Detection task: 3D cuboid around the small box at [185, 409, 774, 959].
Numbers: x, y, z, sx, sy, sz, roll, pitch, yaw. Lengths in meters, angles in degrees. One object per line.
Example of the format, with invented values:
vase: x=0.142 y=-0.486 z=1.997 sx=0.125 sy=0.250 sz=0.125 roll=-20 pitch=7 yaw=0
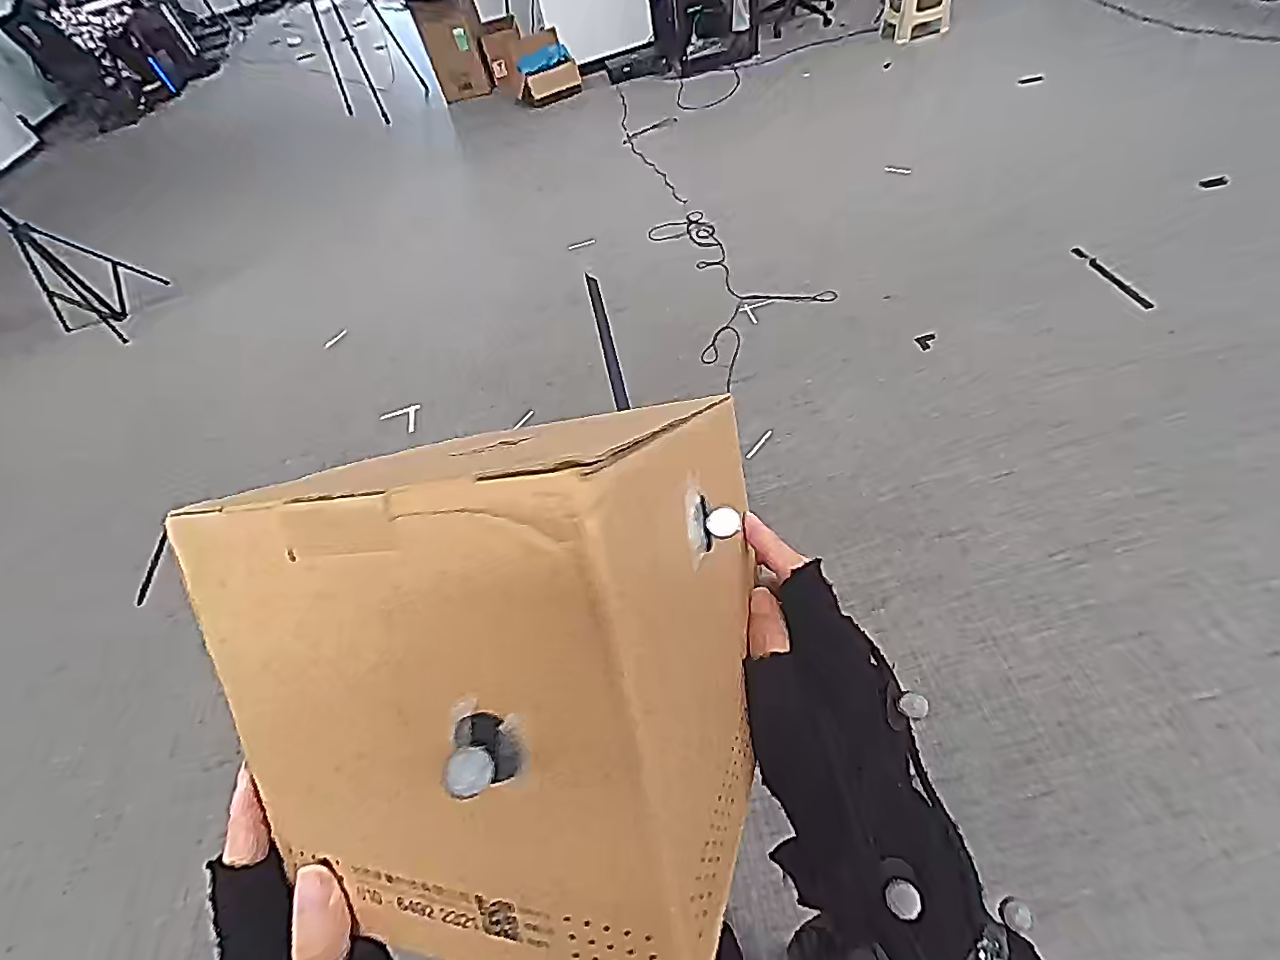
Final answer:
small box: x=-0.041 y=0.073 z=0.247 sx=0.168 sy=0.176 sz=0.179 roll=-6 pitch=11 yaw=24
